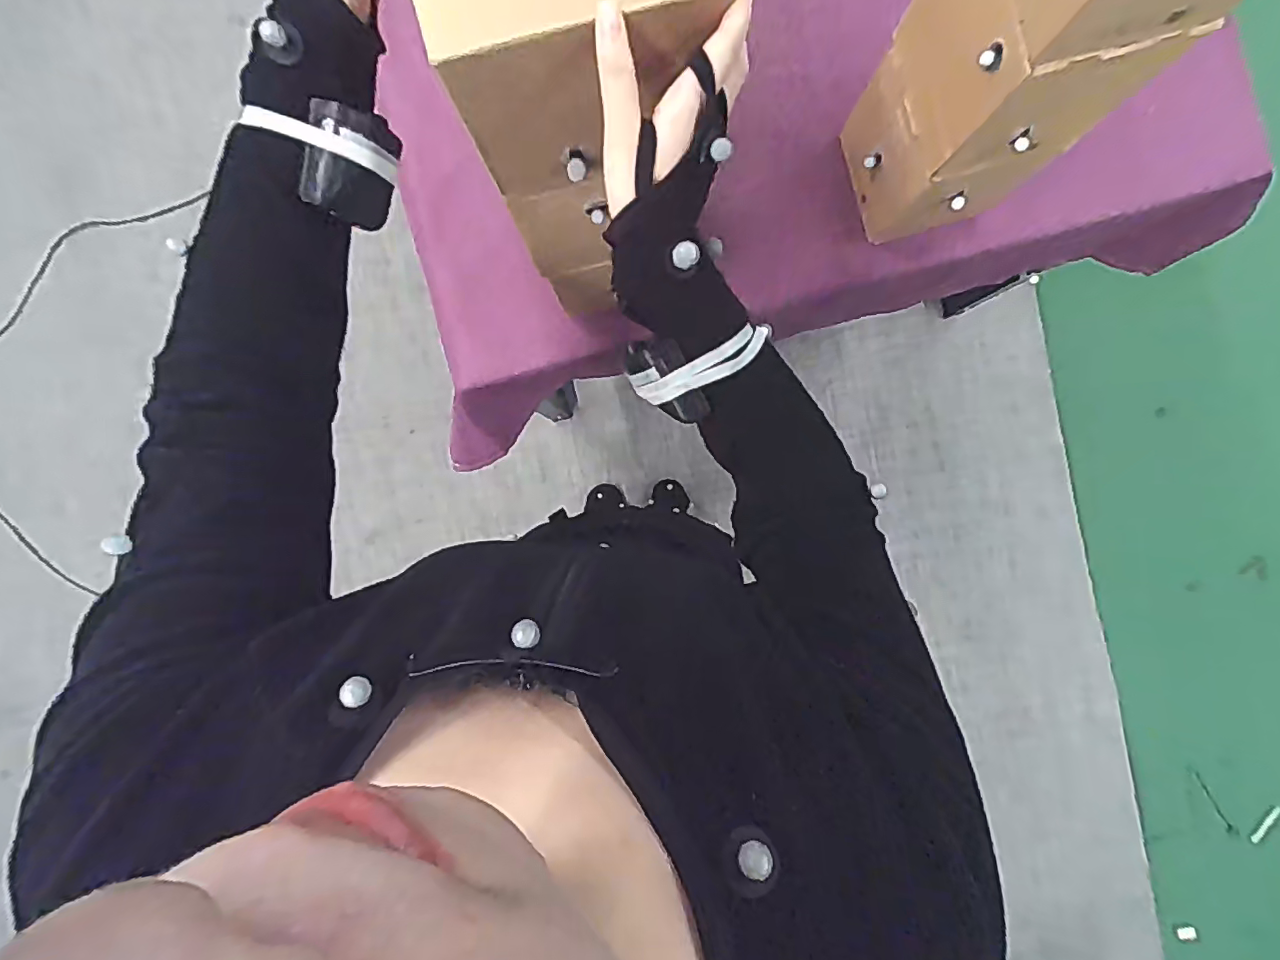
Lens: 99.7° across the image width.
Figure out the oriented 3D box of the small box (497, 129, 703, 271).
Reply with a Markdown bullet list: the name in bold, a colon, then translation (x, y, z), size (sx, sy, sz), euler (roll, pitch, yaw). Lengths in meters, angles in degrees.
- **small box**: translation (-0.048, -0.328, 0.531), size (0.179, 0.176, 0.168), euler (-15, 91, 0)

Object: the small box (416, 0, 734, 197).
- **small box**: translation (-0.051, -0.322, 0.350), size (0.168, 0.176, 0.179), euler (-14, 95, -1)

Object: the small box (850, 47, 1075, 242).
- **small box**: translation (0.389, -0.433, 0.691), size (0.179, 0.176, 0.168), euler (-15, 91, 1)

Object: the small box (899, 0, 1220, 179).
- **small box**: translation (0.382, -0.437, 0.528), size (0.168, 0.176, 0.179), euler (-14, 91, 0)

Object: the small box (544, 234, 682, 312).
- **small box**: translation (-0.047, -0.331, 0.695), size (0.168, 0.176, 0.179), euler (-14, 90, 0)
